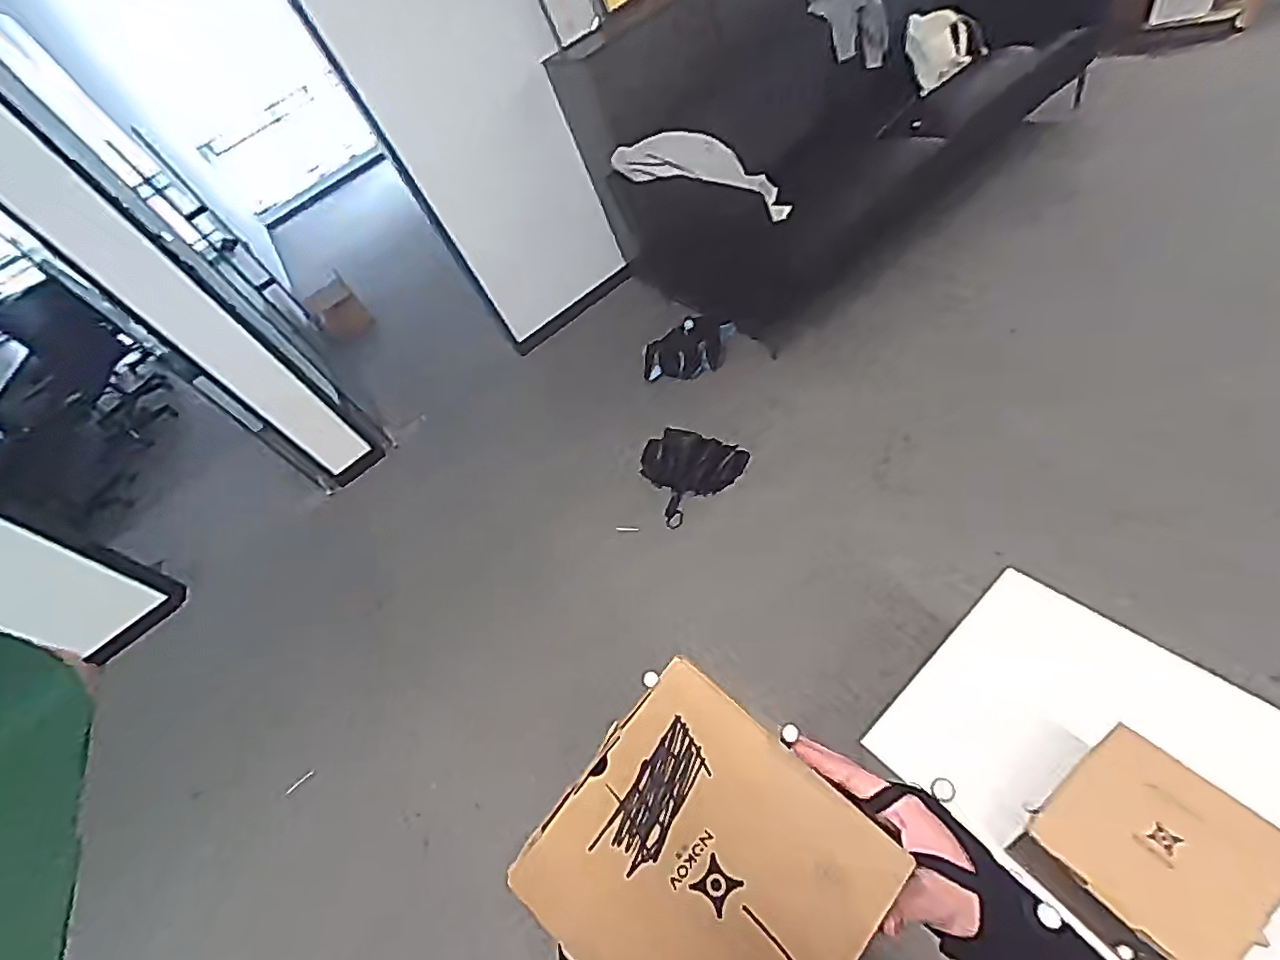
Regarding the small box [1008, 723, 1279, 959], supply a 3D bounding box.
[{"bbox_3d":[0.555,0.423,0.615,0.179,0.176,0.168,-38,47,-12],"label":"small box"}]
